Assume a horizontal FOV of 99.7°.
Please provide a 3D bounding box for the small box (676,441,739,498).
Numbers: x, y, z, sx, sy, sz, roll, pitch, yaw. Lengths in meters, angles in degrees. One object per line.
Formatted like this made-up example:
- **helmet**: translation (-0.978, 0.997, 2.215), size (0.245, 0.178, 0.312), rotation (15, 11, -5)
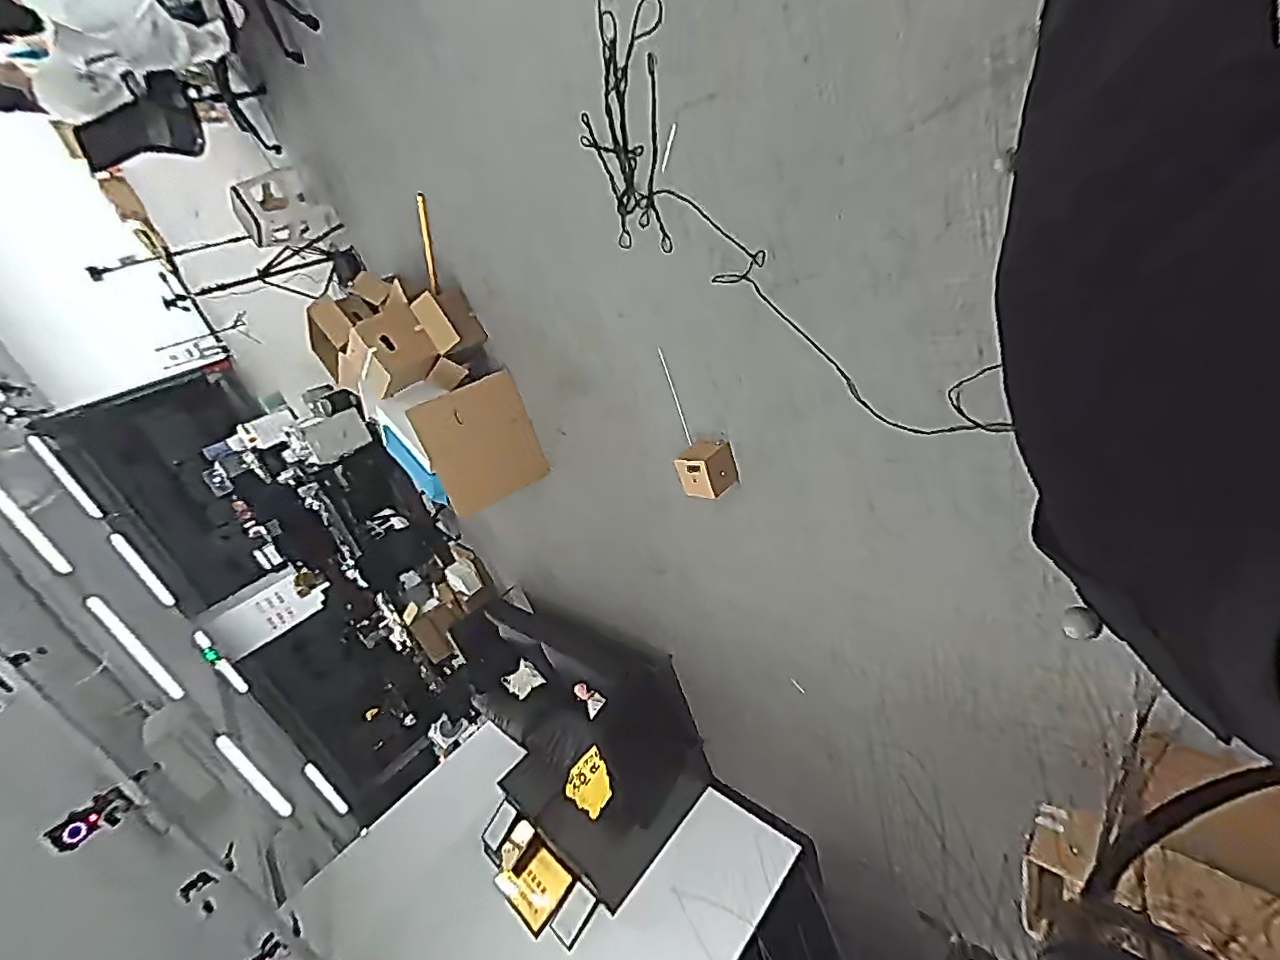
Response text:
- **small box**: translation (0.279, -0.049, 2.201), size (0.168, 0.176, 0.179), rotation (8, 126, 48)

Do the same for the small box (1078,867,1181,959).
- **small box**: translation (1.209, 1.119, 1.336), size (0.168, 0.176, 0.179), rotation (10, 128, 44)
